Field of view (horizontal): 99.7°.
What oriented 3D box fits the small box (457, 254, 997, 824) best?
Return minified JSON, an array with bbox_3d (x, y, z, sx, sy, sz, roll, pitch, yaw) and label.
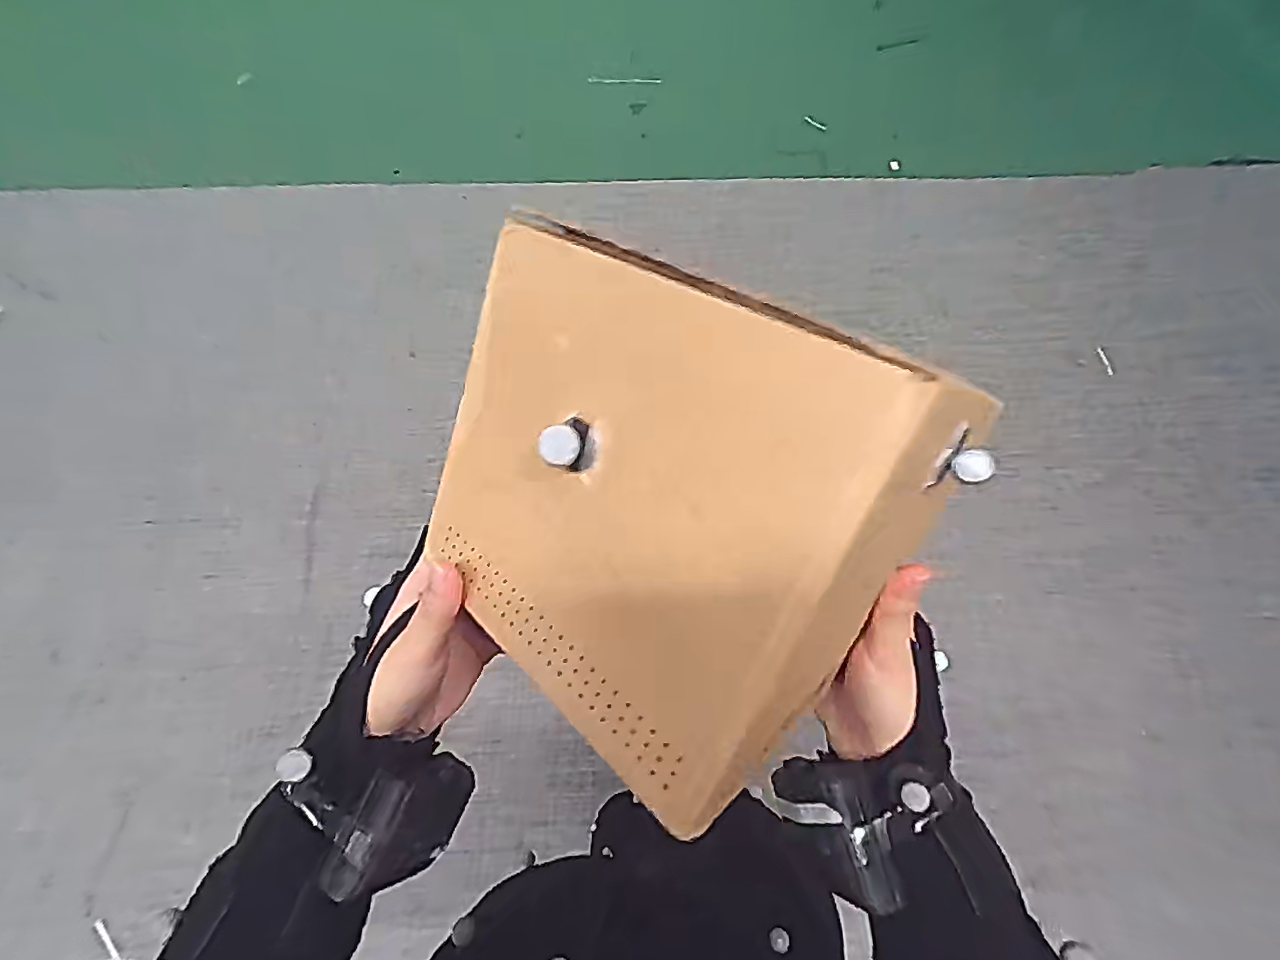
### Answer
[{"bbox_3d":[0.034,0.012,0.267,0.179,0.176,0.168,32,23,31],"label":"small box"}]
